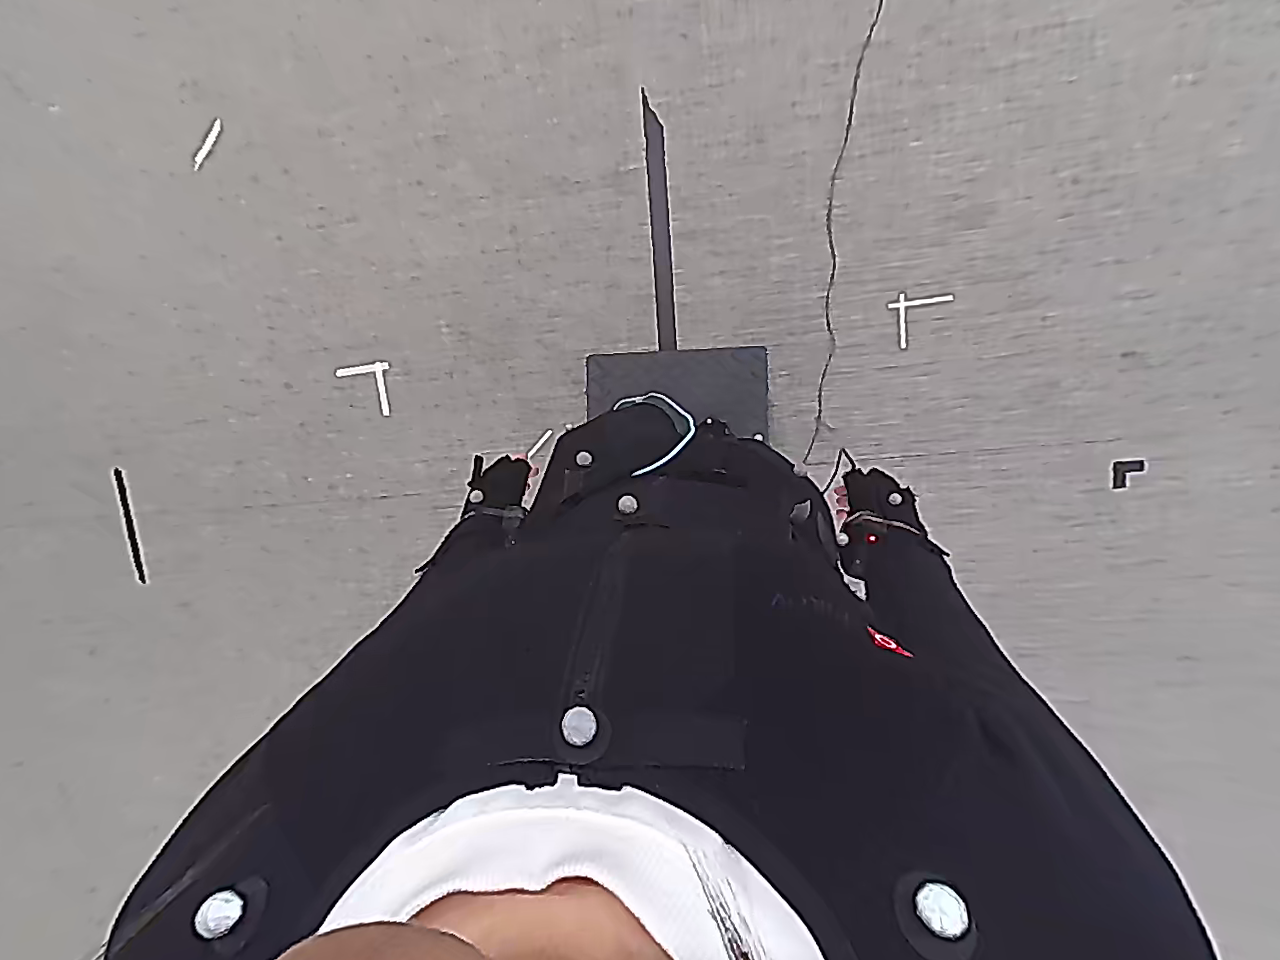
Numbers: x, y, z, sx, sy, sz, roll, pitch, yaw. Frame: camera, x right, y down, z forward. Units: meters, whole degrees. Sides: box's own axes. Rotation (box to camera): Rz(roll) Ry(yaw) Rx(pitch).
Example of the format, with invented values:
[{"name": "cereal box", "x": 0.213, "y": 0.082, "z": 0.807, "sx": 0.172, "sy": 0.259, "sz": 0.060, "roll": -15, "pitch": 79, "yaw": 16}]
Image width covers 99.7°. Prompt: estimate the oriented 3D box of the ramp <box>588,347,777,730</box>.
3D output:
[{"name": "ramp", "x": 0.101, "y": 0.150, "z": 1.446, "sx": 0.509, "sy": 0.206, "sz": 0.991, "roll": -3, "pitch": 97, "yaw": 10}]
